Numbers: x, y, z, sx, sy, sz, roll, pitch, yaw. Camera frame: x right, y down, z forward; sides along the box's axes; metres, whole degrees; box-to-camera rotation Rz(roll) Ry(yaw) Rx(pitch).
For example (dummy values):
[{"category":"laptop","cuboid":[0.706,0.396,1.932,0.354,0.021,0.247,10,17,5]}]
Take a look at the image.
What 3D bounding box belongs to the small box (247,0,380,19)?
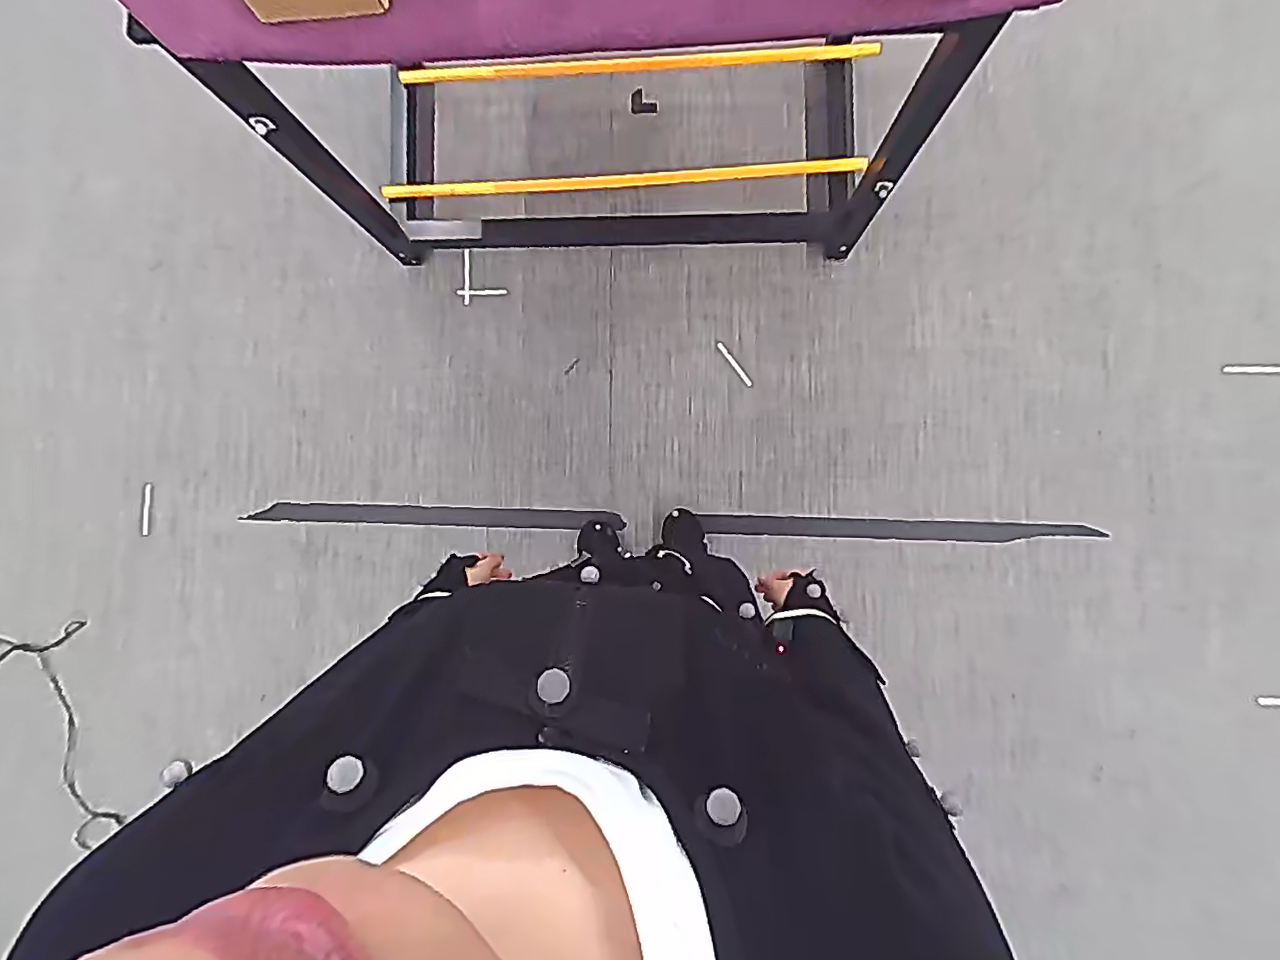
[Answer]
[{"category":"small box","cuboid":[-0.432,-0.702,0.647,0.179,0.176,0.168,-3,85,2]}]
